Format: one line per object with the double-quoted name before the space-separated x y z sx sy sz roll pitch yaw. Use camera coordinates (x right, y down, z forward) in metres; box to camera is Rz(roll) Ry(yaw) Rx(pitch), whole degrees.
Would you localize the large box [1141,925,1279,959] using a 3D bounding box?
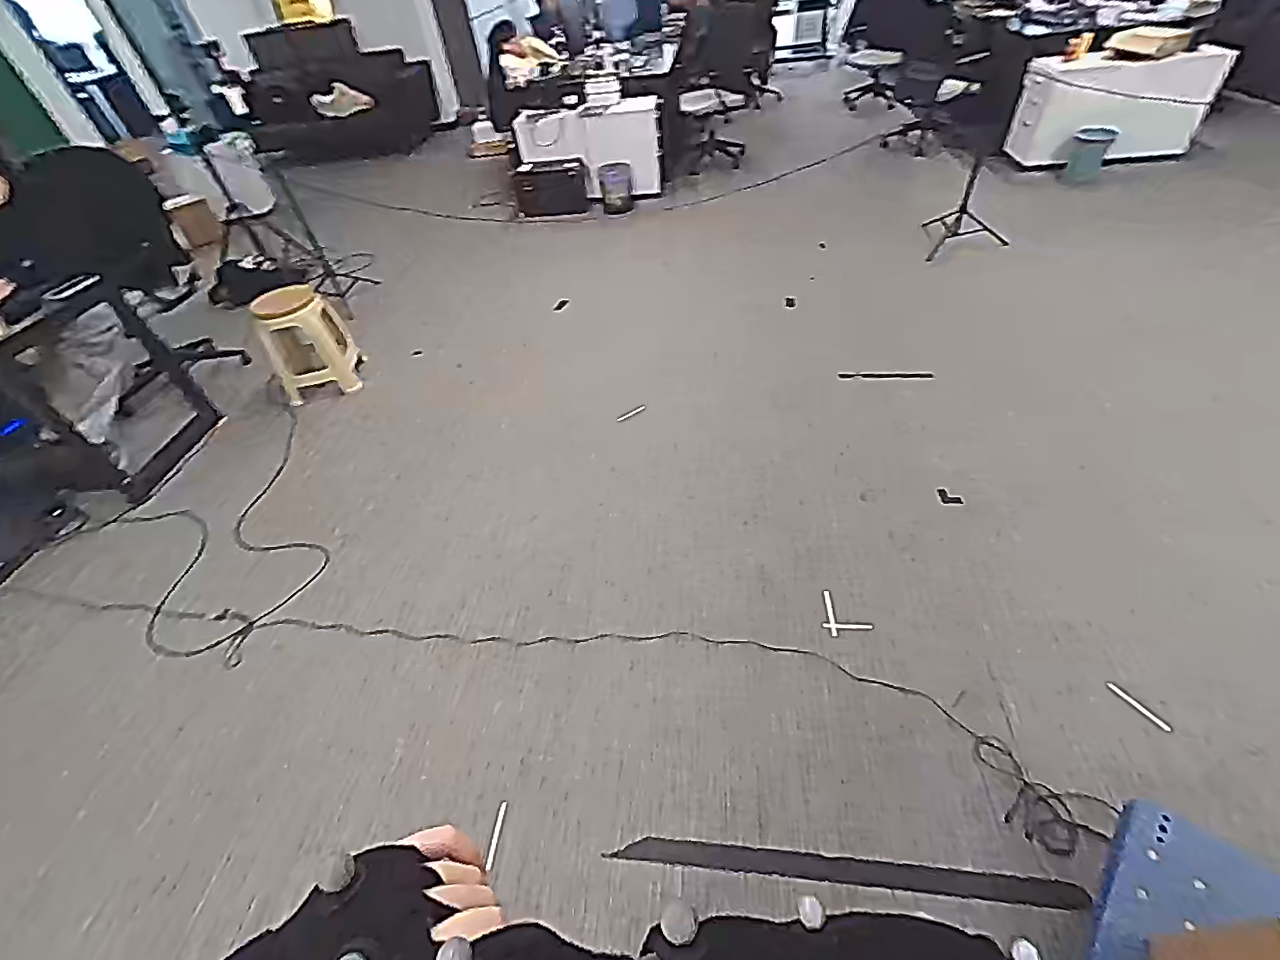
"large box" 0.953 0.855 0.667 0.408 0.320 0.320 20 52 24
